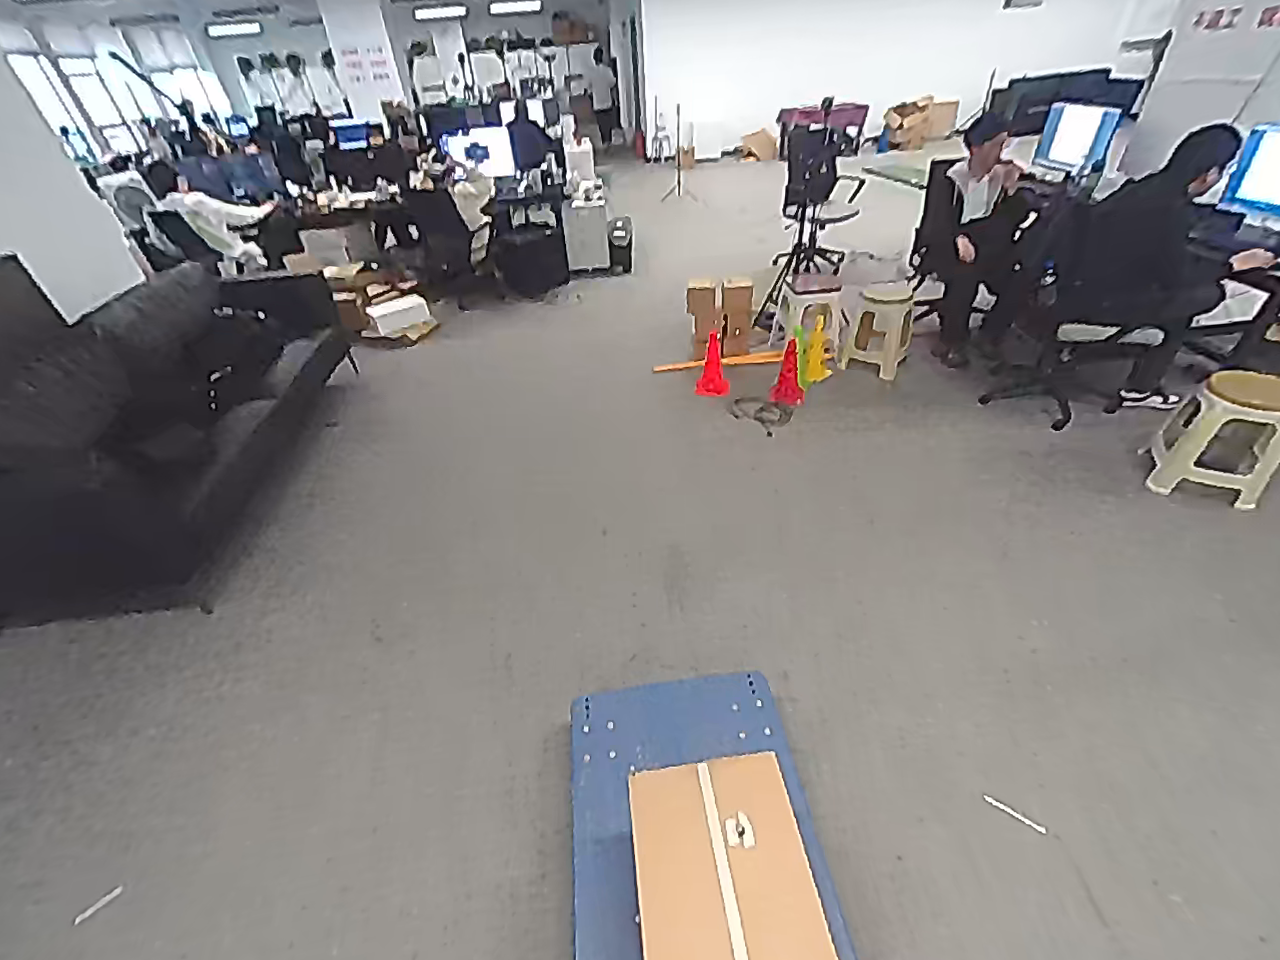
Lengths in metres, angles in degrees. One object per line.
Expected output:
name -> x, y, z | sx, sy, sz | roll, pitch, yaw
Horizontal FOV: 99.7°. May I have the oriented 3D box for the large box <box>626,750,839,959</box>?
large box -> 0.160, 0.825, 1.064 | 0.320, 0.320, 0.408 | -7, 37, -3
